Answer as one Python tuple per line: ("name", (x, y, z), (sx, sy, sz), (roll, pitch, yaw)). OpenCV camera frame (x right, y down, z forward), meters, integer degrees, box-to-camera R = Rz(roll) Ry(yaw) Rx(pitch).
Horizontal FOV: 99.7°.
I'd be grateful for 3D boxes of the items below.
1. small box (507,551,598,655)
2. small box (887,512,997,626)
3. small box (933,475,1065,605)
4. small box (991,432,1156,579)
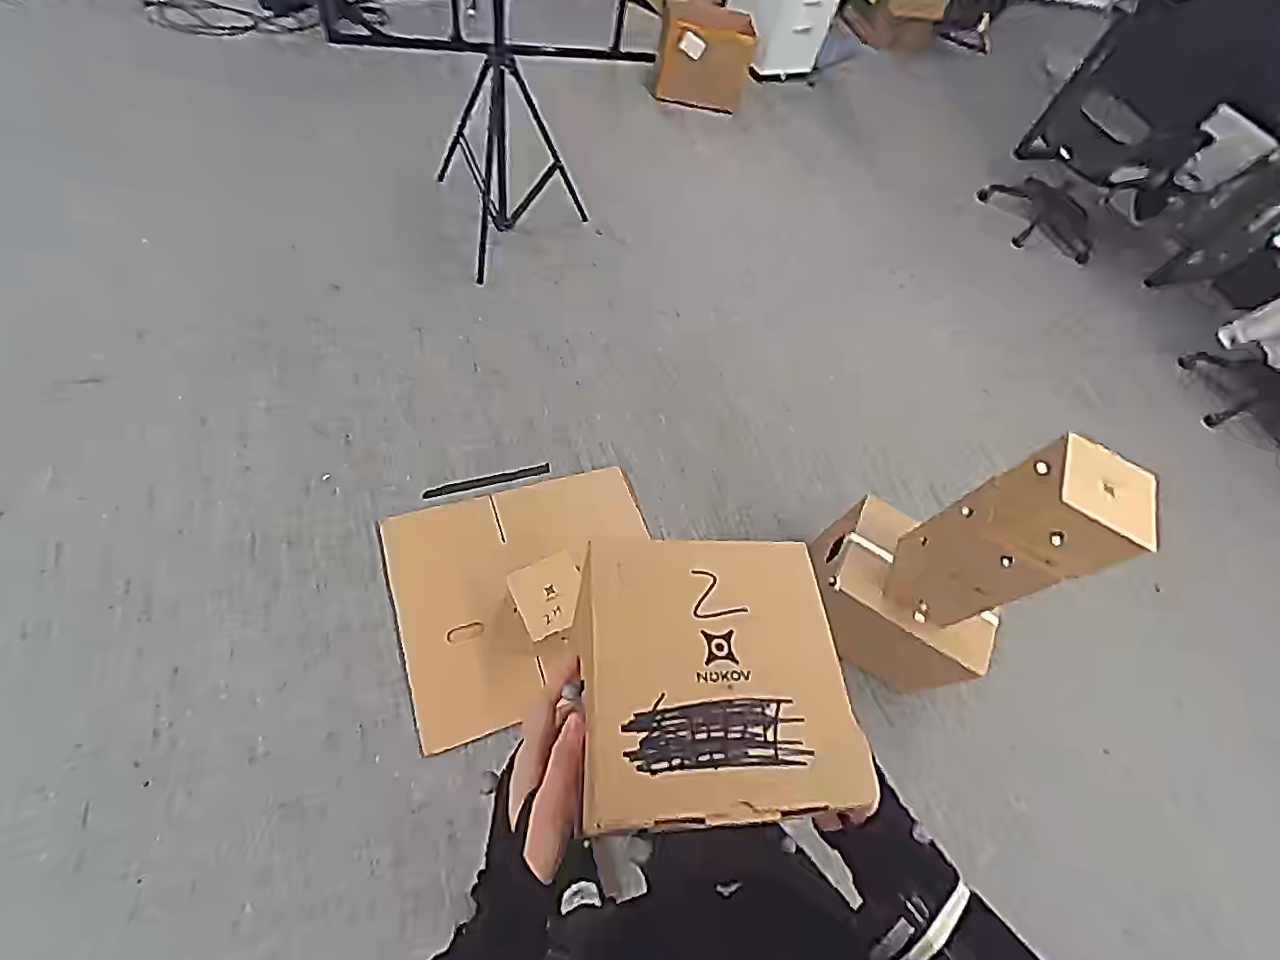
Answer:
("small box", (-0.221, 0.307, 1.341), (0.168, 0.176, 0.179), (-23, 68, -21))
("small box", (0.709, 0.212, 1.262), (0.168, 0.176, 0.179), (31, 59, 6))
("small box", (0.744, 0.129, 1.124), (0.168, 0.176, 0.179), (31, 58, 6))
("small box", (0.778, 0.053, 0.984), (0.168, 0.176, 0.179), (31, 58, 5))
